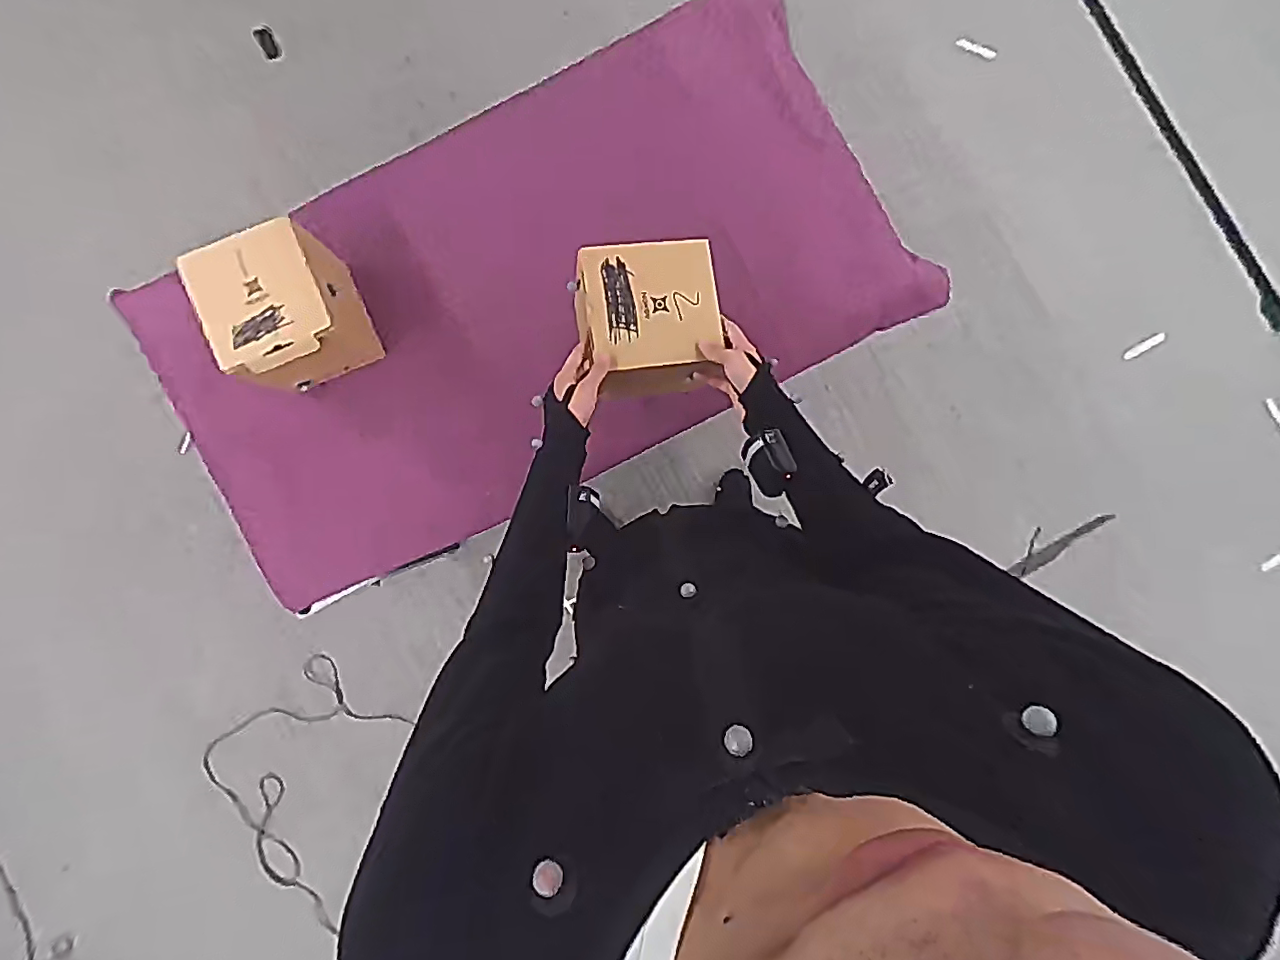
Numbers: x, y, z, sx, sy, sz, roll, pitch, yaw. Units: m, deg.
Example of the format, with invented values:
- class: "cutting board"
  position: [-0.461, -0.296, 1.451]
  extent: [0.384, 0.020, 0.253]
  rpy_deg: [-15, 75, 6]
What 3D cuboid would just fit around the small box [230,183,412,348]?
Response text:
- class: "small box"
  position: [-0.482, -0.319, 0.845]
  extent: [0.168, 0.176, 0.179]
  rpy_deg: [-15, 88, -2]
